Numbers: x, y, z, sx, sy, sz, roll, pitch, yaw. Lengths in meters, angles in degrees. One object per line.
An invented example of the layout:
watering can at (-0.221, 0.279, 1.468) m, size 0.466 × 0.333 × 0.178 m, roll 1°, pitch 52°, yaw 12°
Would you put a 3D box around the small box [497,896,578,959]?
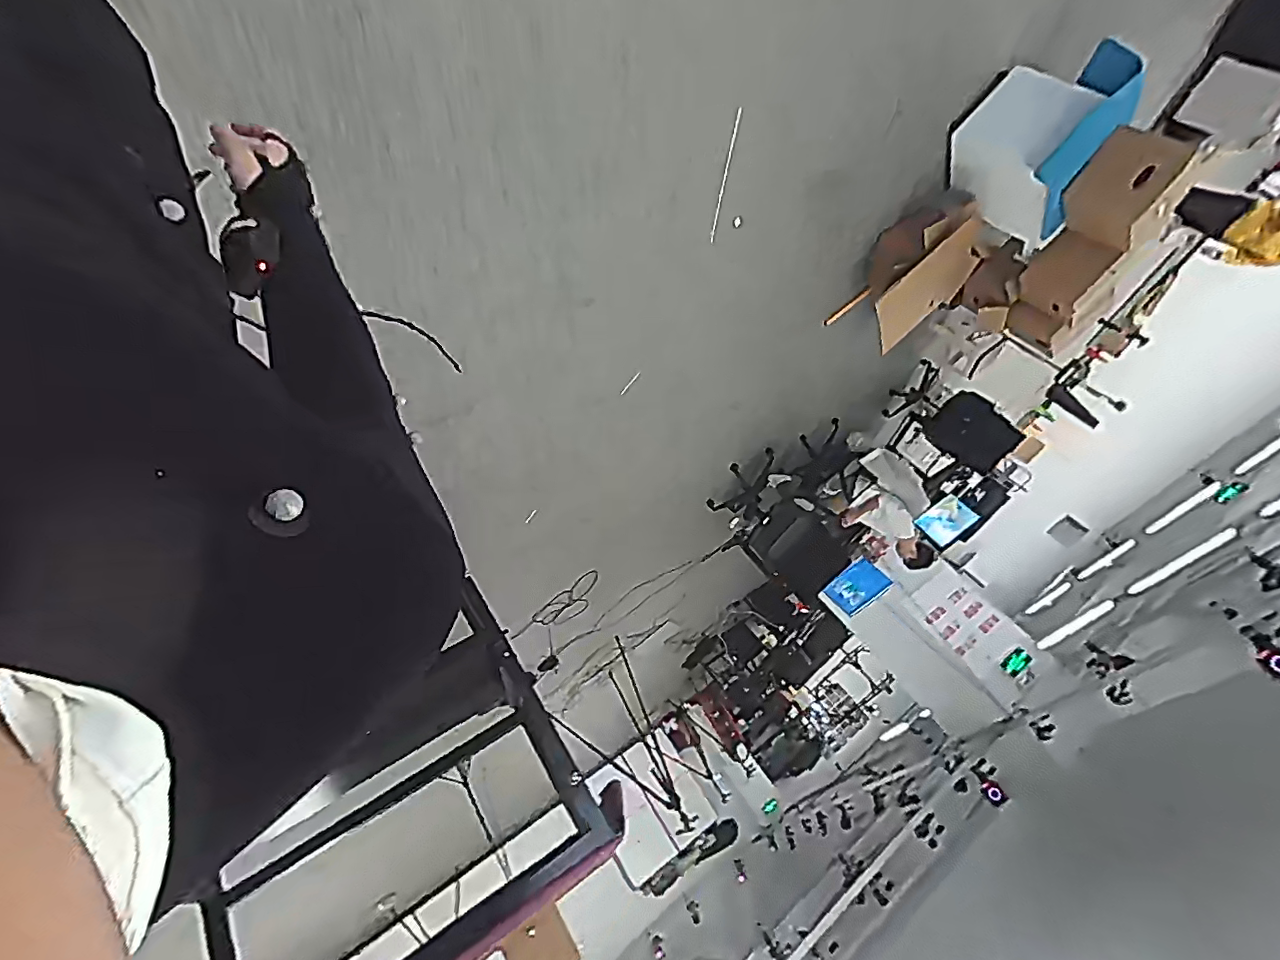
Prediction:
small box at (-0.290, 1.315, 1.513) m, size 0.179 × 0.176 × 0.168 m, roll -24°, pitch 149°, yaw -25°
